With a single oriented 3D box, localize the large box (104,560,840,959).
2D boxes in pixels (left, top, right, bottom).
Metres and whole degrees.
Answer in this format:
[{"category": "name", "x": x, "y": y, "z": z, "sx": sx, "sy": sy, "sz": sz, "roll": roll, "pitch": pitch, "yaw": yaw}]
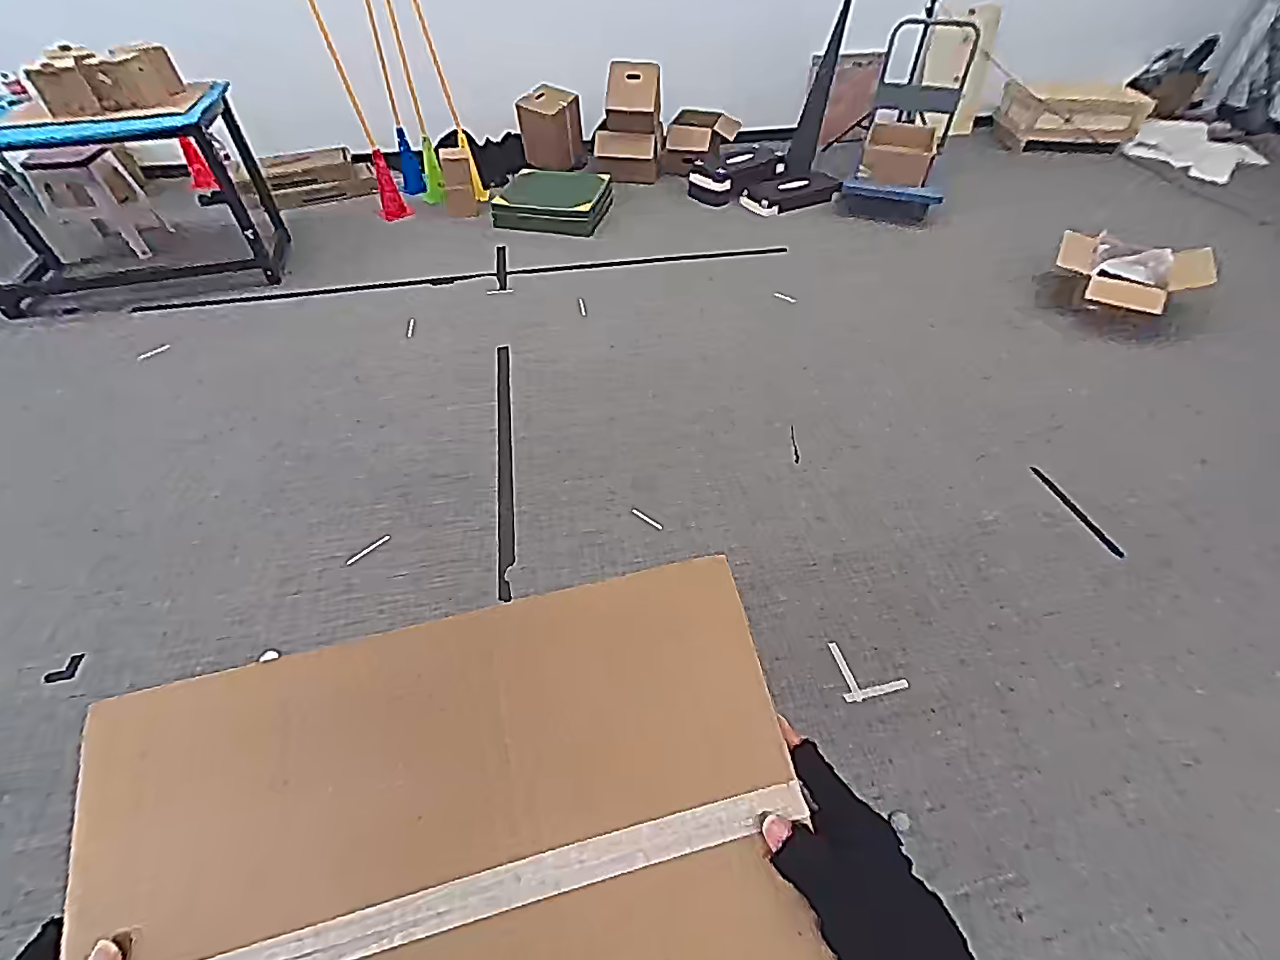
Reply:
[{"category": "large box", "x": -0.105, "y": 0.293, "z": 0.452, "sx": 0.408, "sy": 0.320, "sz": 0.320, "roll": -12, "pitch": 71, "yaw": -7}]
